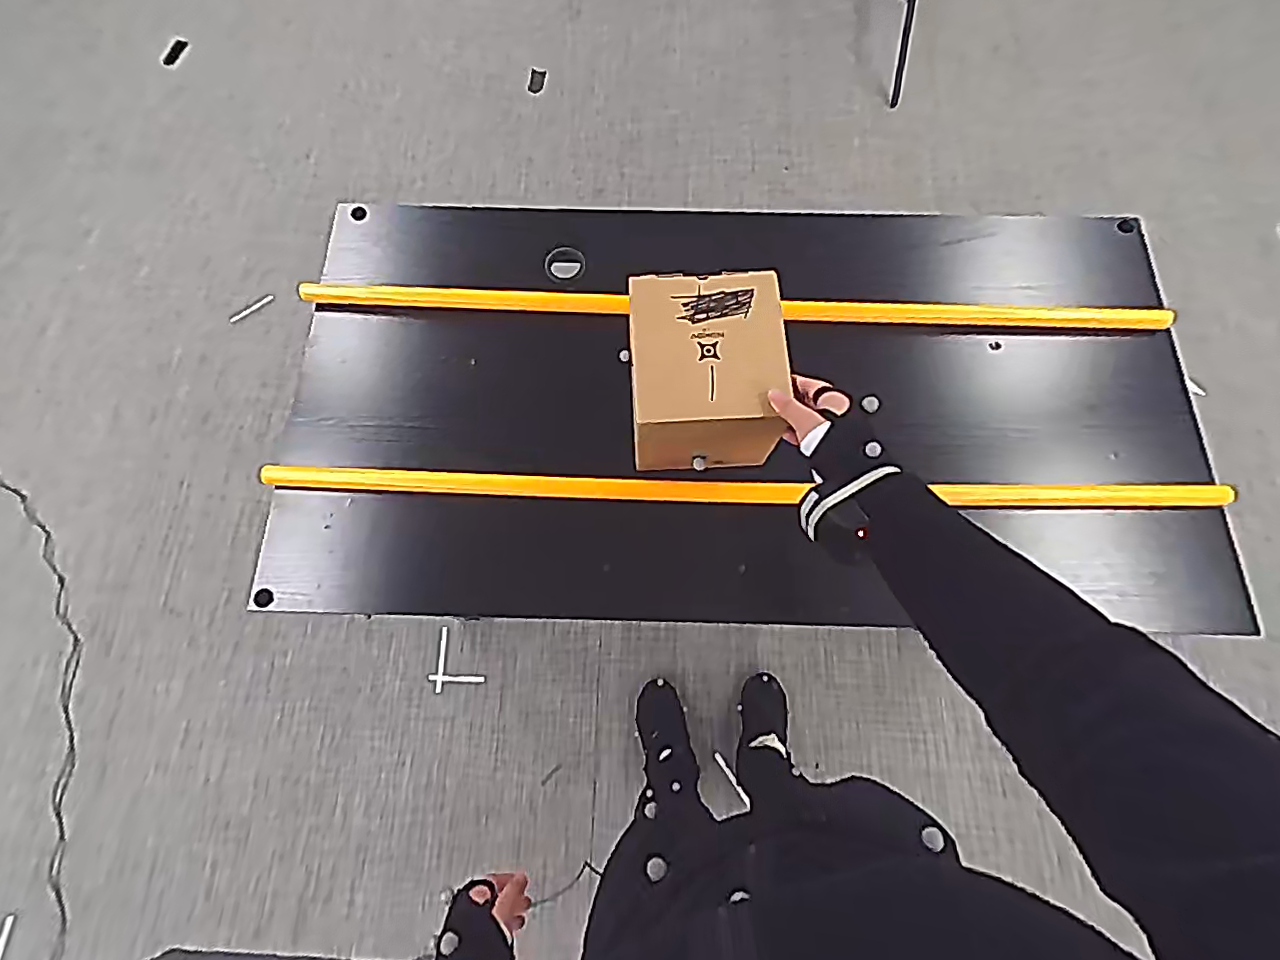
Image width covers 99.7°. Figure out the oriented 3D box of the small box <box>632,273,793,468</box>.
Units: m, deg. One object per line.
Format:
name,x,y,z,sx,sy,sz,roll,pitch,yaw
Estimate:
small box,0.074,-0.124,0.658,0.168,0.176,0.179,-3,74,0
